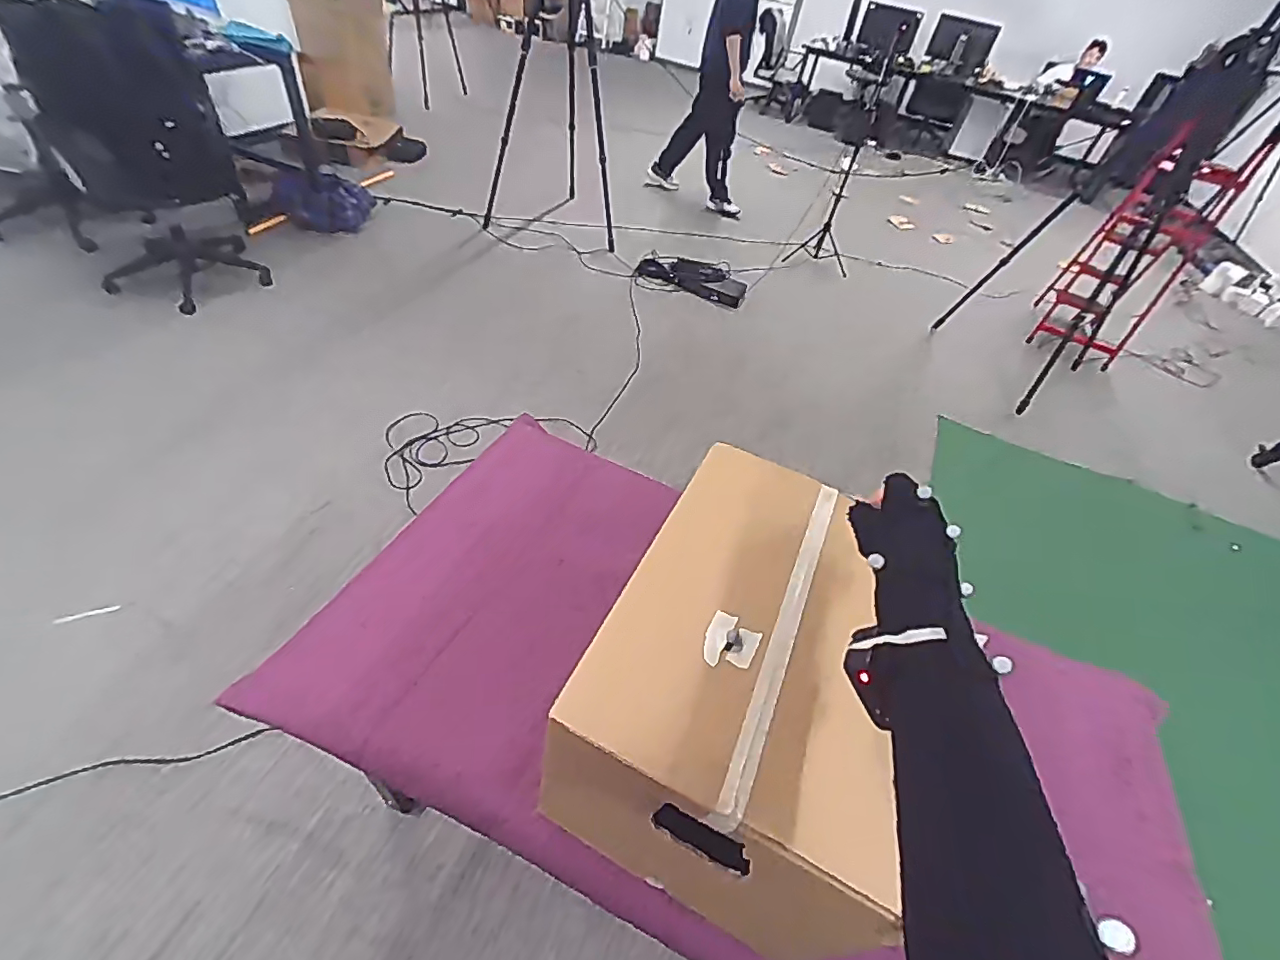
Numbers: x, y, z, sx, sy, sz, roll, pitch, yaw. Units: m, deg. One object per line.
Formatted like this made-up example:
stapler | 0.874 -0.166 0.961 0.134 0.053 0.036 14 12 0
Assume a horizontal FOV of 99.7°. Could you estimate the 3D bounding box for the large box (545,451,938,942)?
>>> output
large box | 0.121 0.243 0.664 0.320 0.320 0.408 25 47 12
